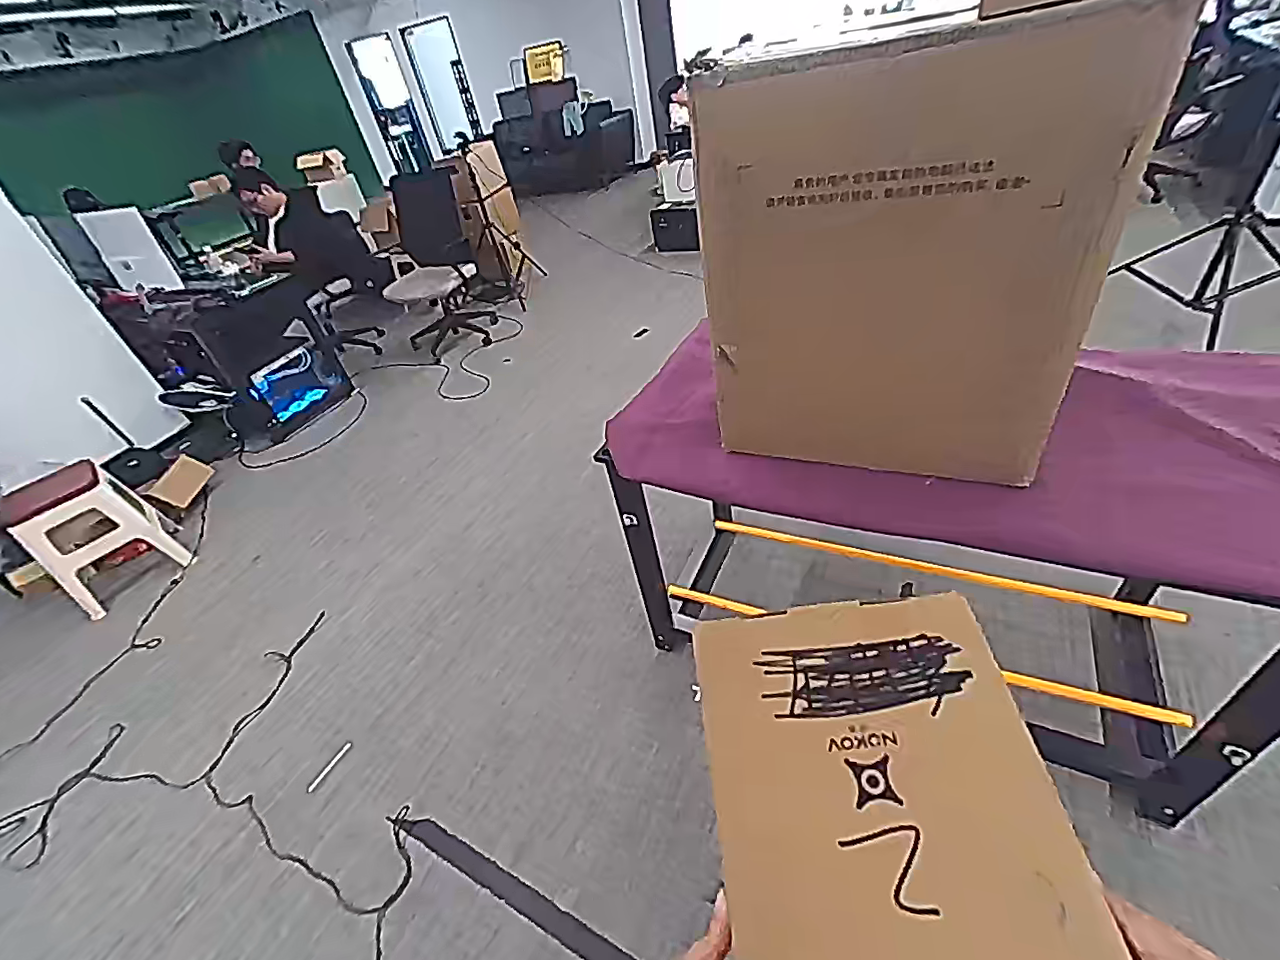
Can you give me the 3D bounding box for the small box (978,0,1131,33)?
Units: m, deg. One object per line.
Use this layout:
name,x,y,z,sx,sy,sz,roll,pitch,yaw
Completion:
small box,0.449,-0.579,0.540,0.168,0.176,0.179,10,44,28
